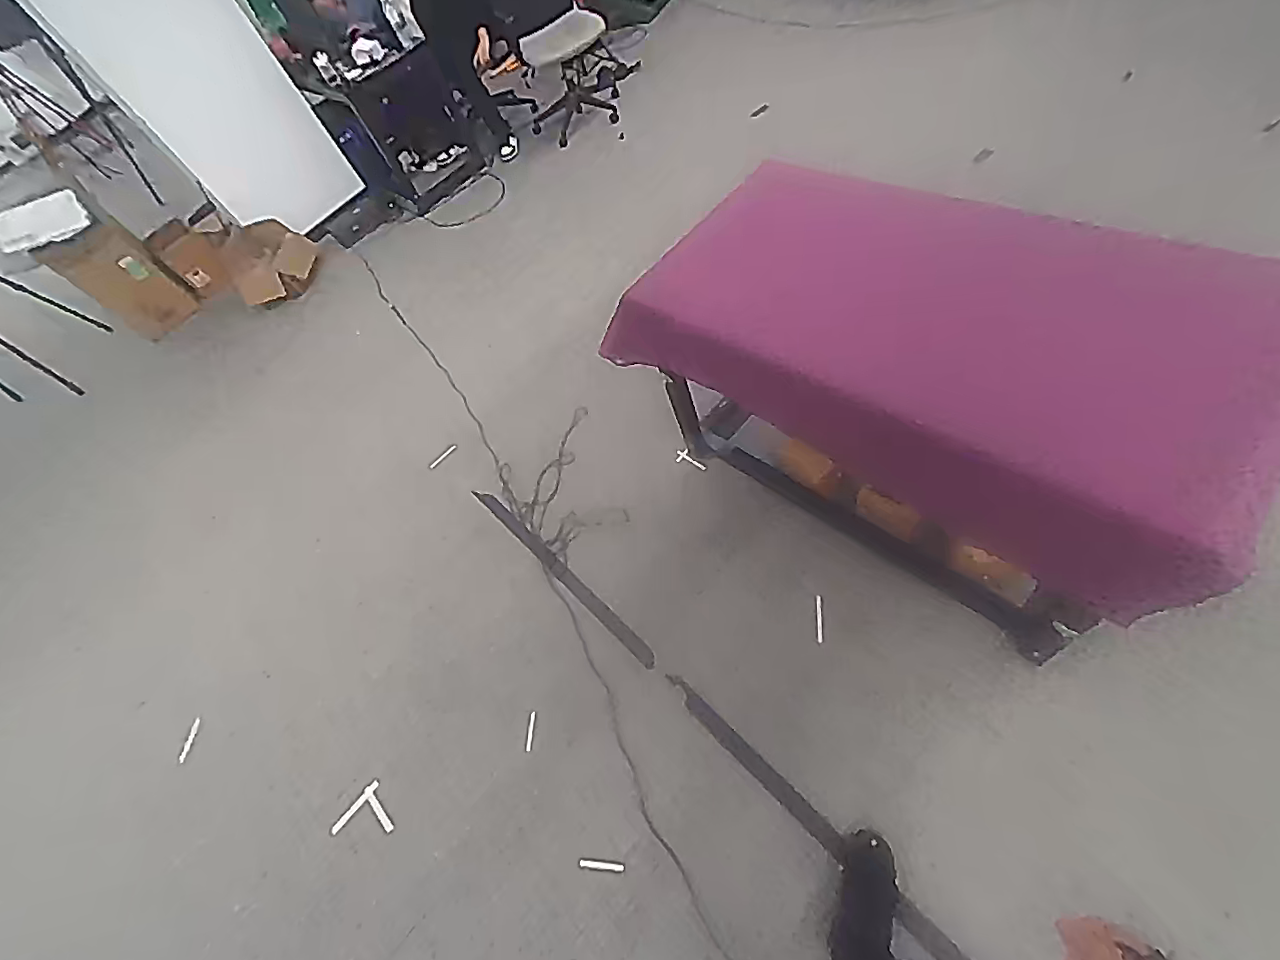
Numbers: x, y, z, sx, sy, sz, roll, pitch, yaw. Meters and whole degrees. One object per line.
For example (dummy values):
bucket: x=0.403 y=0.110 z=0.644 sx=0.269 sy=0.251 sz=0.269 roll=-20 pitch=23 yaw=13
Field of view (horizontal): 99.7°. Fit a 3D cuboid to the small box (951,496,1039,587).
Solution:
small box: x=0.934 y=0.163 z=1.438 sx=0.168 sy=0.176 sz=0.179 roll=4 pitch=60 yaw=22
